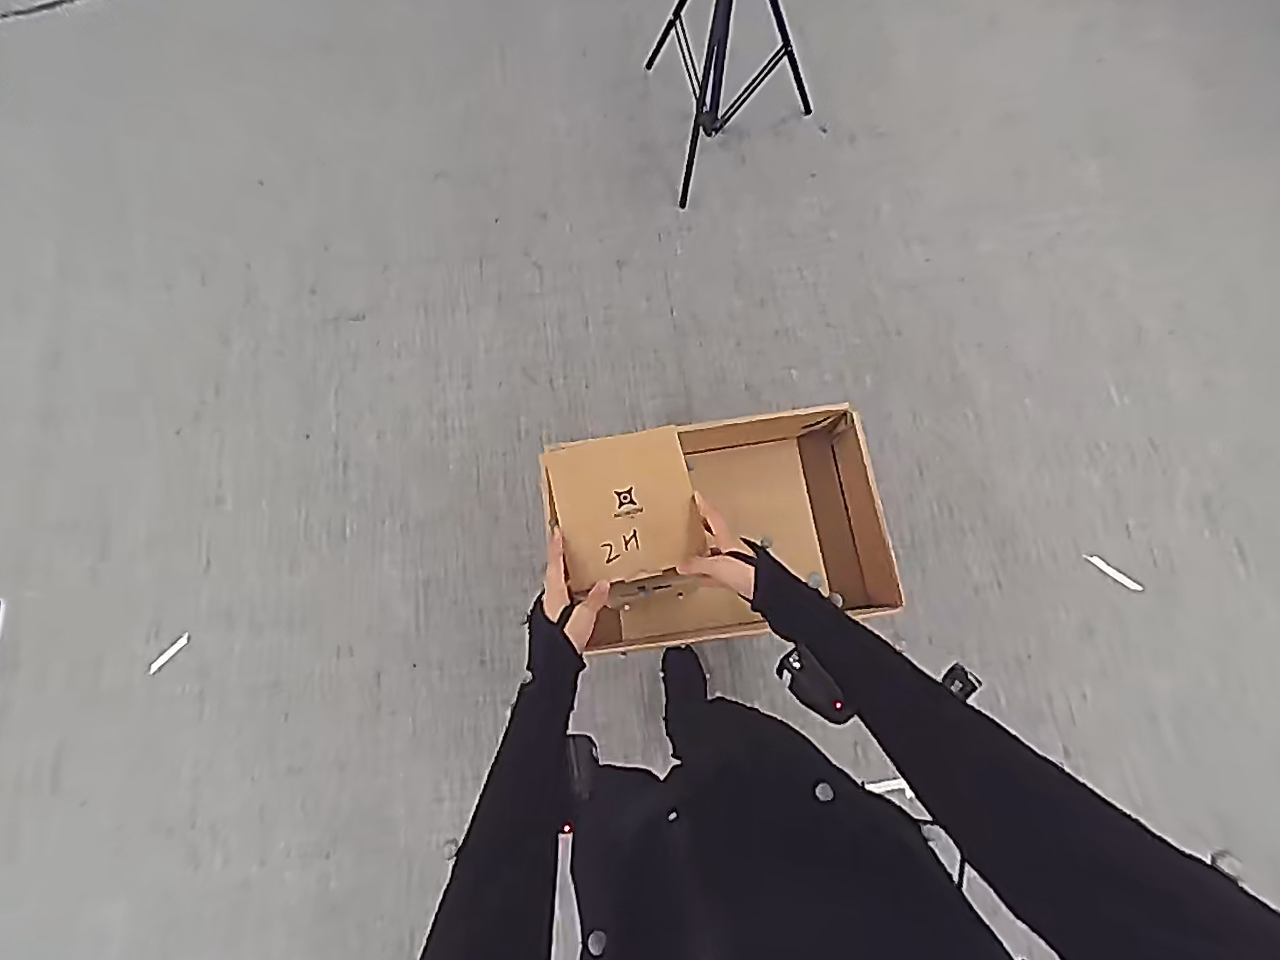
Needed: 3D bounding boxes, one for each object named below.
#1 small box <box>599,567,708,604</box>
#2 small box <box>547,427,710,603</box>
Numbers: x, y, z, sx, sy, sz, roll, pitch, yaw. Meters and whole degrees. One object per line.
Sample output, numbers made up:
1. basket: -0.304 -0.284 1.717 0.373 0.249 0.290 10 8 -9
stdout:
1. small box: 0.006 0.100 0.872 0.168 0.176 0.179 -11 74 -3
2. small box: -0.018 0.054 0.712 0.168 0.176 0.179 -13 74 -4
